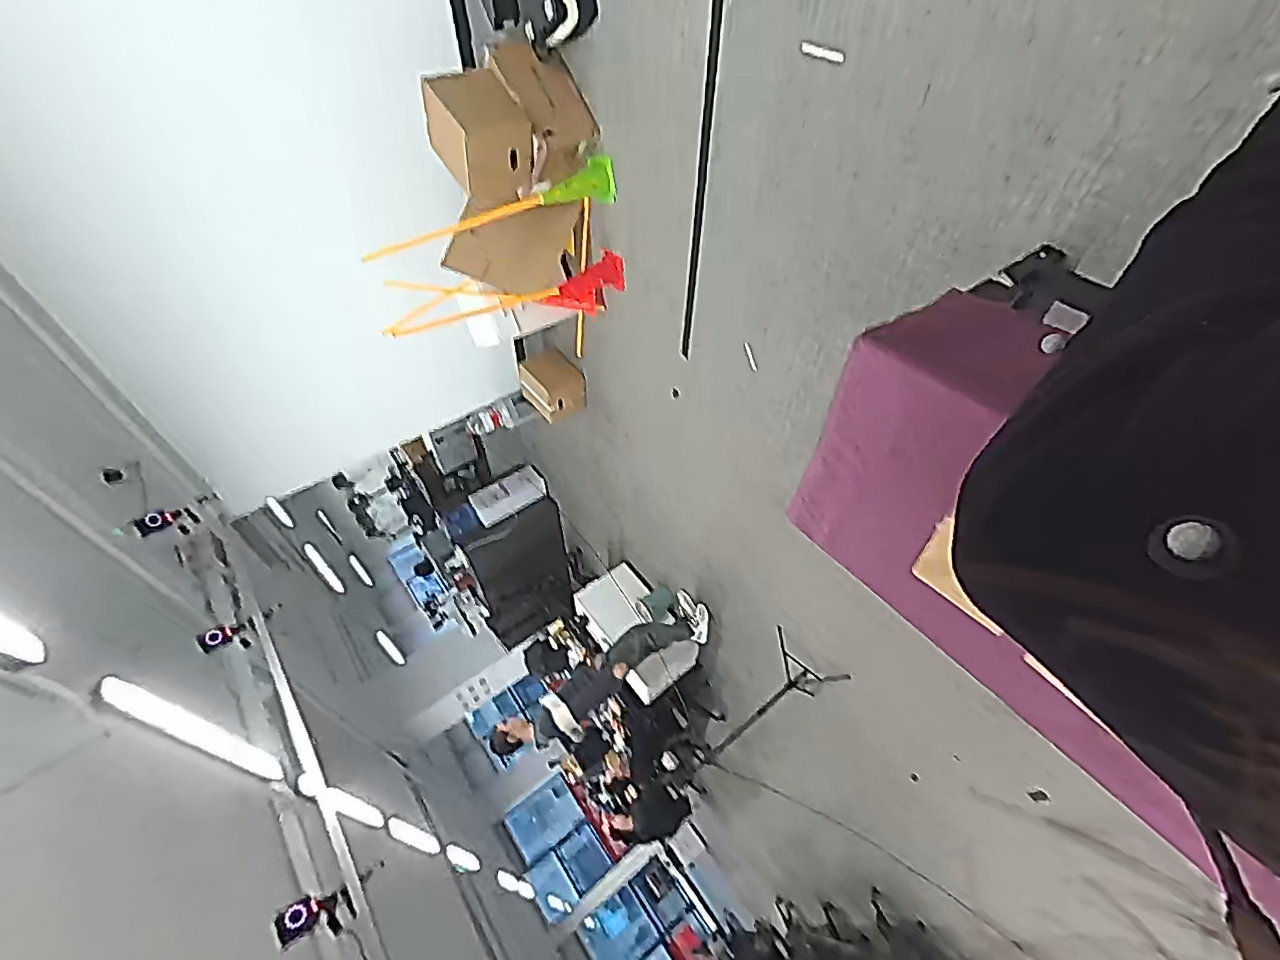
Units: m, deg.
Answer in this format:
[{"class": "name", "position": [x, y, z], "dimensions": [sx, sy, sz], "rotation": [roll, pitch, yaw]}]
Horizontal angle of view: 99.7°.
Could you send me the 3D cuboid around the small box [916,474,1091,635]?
[{"class": "small box", "position": [0.617, 0.120, 0.923], "dimensions": [0.168, 0.176, 0.179], "rotation": [42, 152, 33]}]
